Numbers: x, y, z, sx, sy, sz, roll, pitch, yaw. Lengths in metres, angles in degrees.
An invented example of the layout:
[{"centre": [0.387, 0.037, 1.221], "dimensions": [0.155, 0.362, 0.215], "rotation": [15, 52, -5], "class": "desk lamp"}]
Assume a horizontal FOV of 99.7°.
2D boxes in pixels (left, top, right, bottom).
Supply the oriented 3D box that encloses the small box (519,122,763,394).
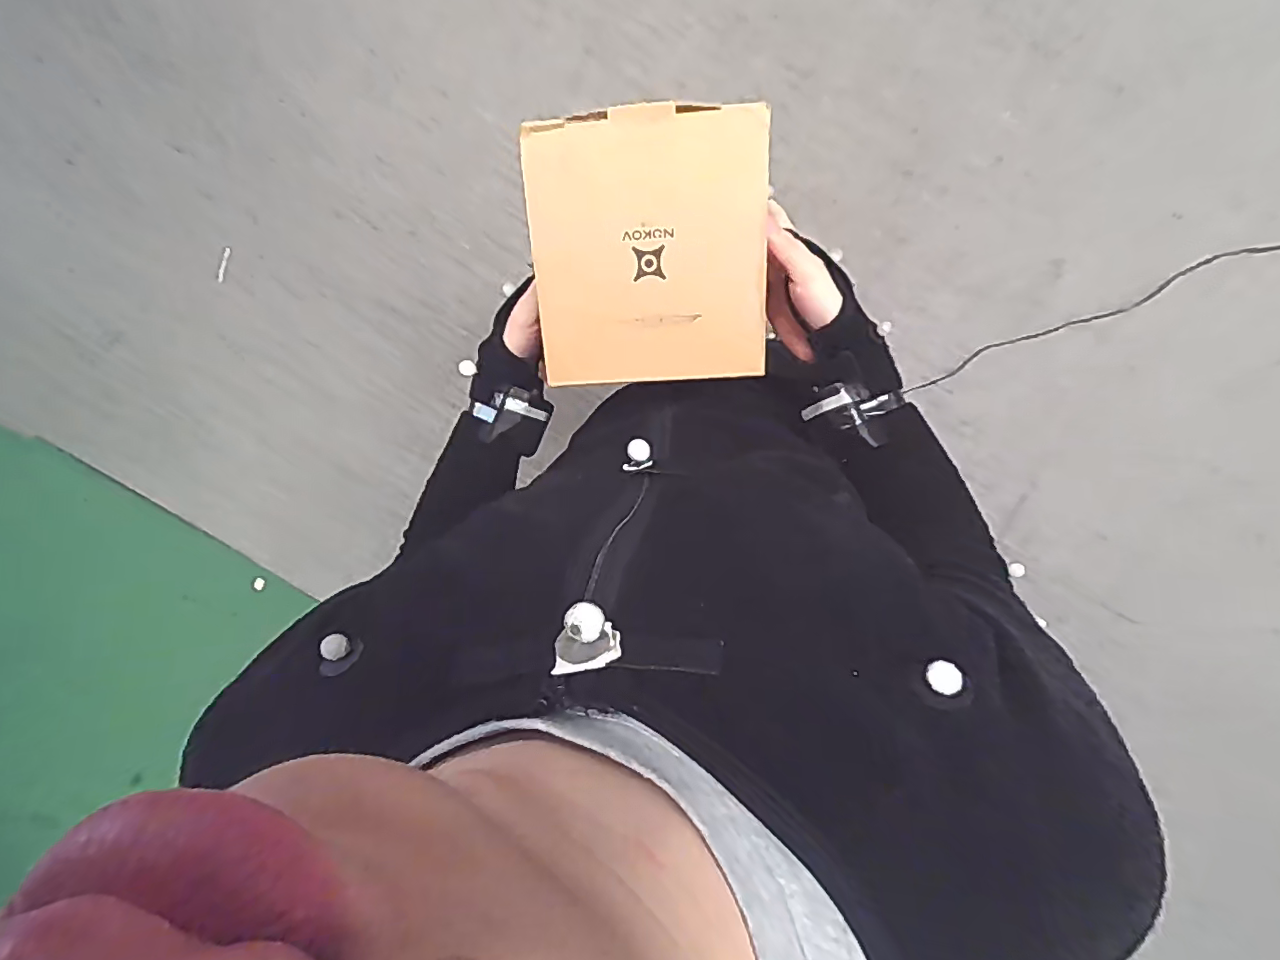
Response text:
[{"centre": [0.006, -0.178, 0.460], "dimensions": [0.168, 0.176, 0.179], "rotation": [-2, 111, 3], "class": "small box"}]
